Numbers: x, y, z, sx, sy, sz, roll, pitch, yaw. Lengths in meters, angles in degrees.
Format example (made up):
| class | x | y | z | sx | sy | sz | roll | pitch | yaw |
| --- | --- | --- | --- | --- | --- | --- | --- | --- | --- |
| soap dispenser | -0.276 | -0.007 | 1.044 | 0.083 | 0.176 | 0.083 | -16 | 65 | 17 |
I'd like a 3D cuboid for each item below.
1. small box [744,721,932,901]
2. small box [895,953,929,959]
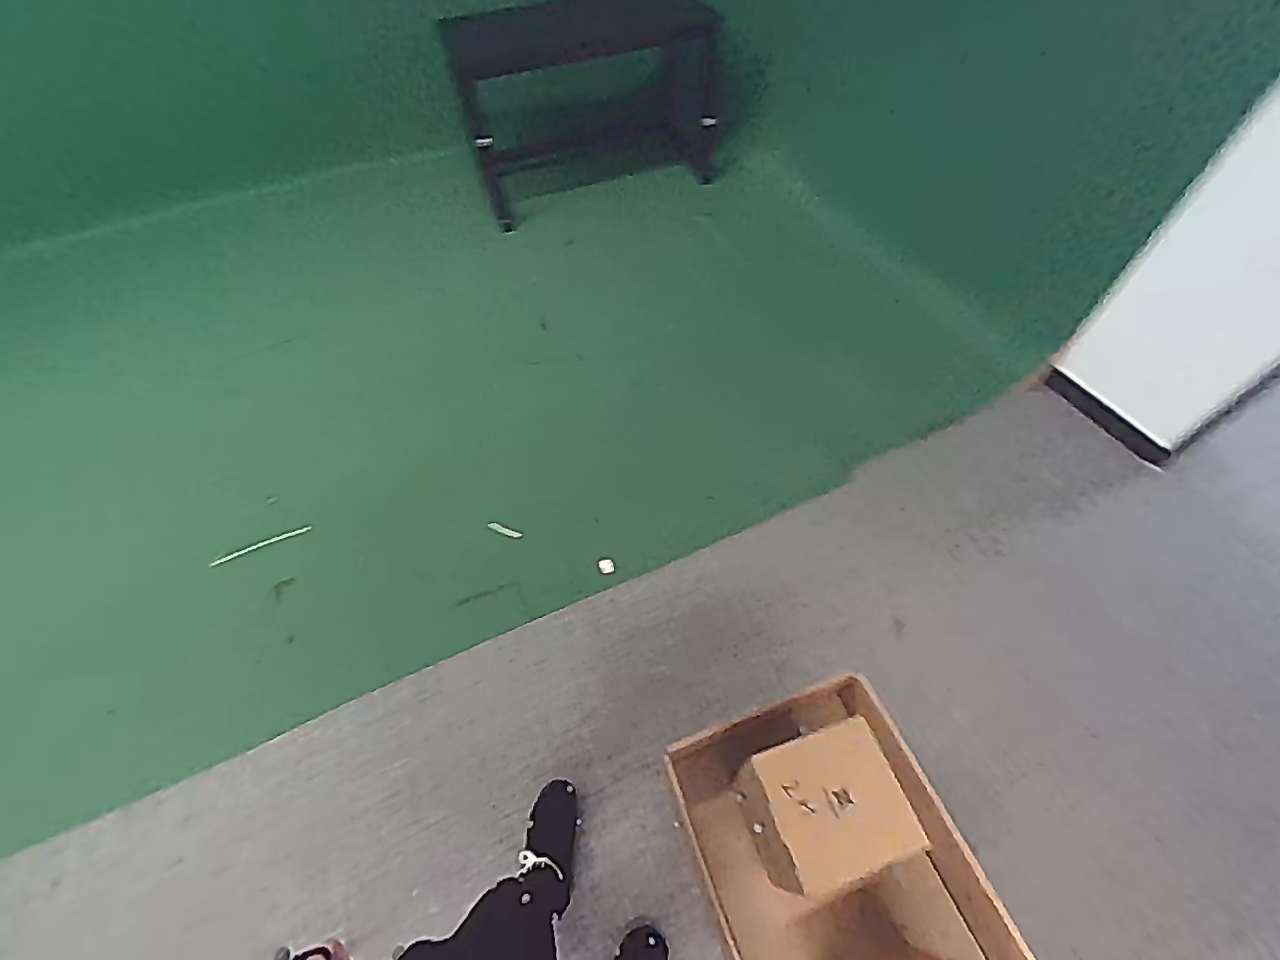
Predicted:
| class | x | y | z | sx | sy | sz | roll | pitch | yaw |
| --- | --- | --- | --- | --- | --- | --- | --- | --- | --- |
| small box | 0.264 | 0.467 | 0.772 | 0.179 | 0.176 | 0.168 | -16 | 56 | -7 |
| small box | 0.384 | 0.795 | 0.743 | 0.179 | 0.176 | 0.168 | -19 | 57 | -8 |
